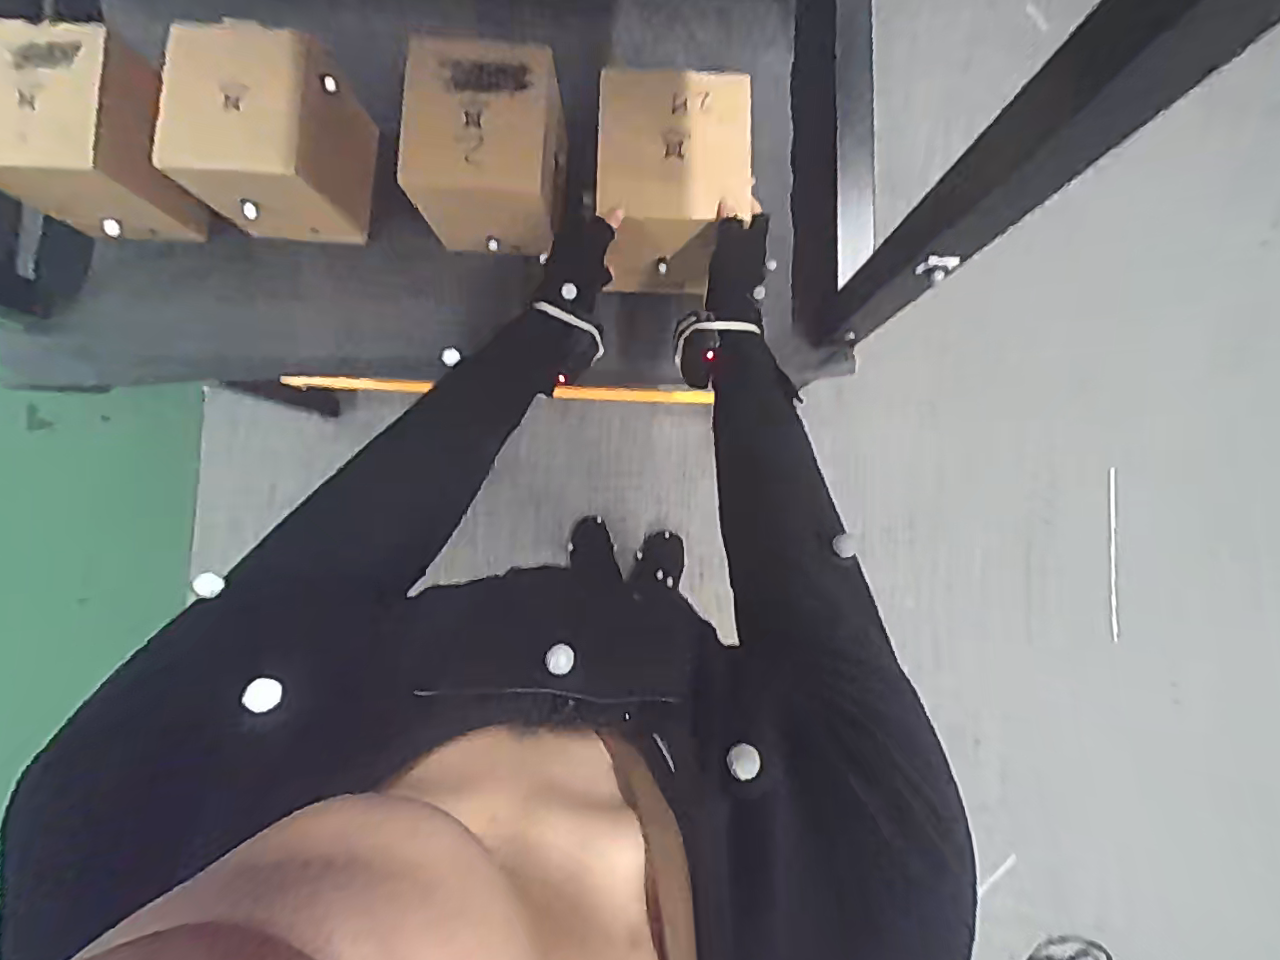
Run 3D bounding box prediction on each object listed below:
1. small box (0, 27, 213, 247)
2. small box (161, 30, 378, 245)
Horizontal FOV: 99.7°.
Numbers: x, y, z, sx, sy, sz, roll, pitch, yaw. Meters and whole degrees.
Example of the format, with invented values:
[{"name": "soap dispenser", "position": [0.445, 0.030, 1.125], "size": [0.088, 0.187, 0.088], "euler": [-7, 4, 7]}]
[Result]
[{"name": "small box", "position": [-0.694, -0.433, 0.703], "size": [0.168, 0.176, 0.179], "euler": [2, 86, -1]}, {"name": "small box", "position": [-0.467, -0.432, 0.708], "size": [0.168, 0.176, 0.179], "euler": [3, 86, 0]}]
